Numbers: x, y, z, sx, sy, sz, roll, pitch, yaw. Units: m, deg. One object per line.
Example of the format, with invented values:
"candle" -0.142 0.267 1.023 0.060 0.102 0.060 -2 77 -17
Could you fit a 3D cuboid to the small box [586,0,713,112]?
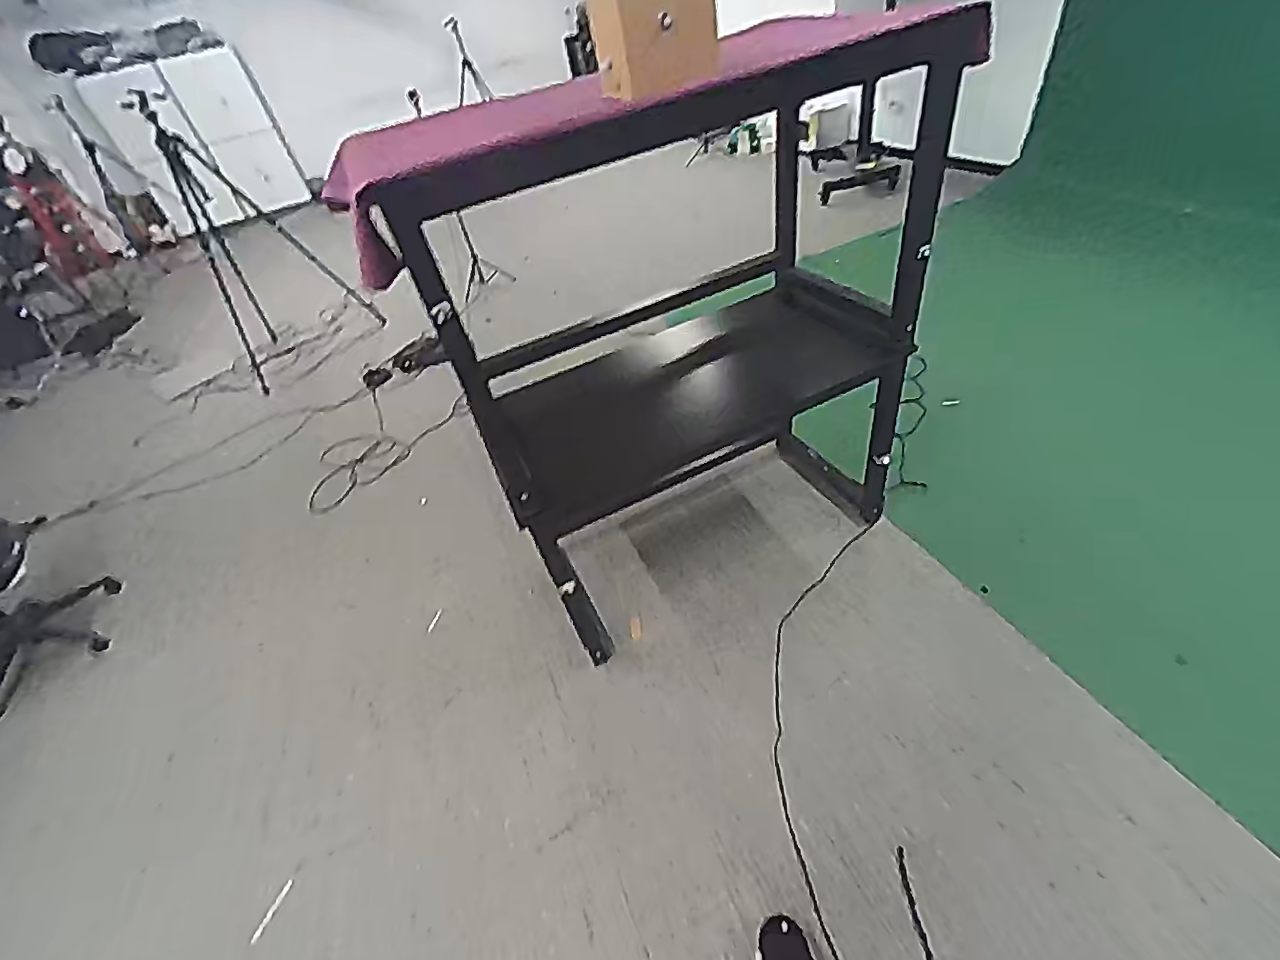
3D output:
"small box" 0.021 -0.782 0.962 0.179 0.176 0.168 -22 41 -7
